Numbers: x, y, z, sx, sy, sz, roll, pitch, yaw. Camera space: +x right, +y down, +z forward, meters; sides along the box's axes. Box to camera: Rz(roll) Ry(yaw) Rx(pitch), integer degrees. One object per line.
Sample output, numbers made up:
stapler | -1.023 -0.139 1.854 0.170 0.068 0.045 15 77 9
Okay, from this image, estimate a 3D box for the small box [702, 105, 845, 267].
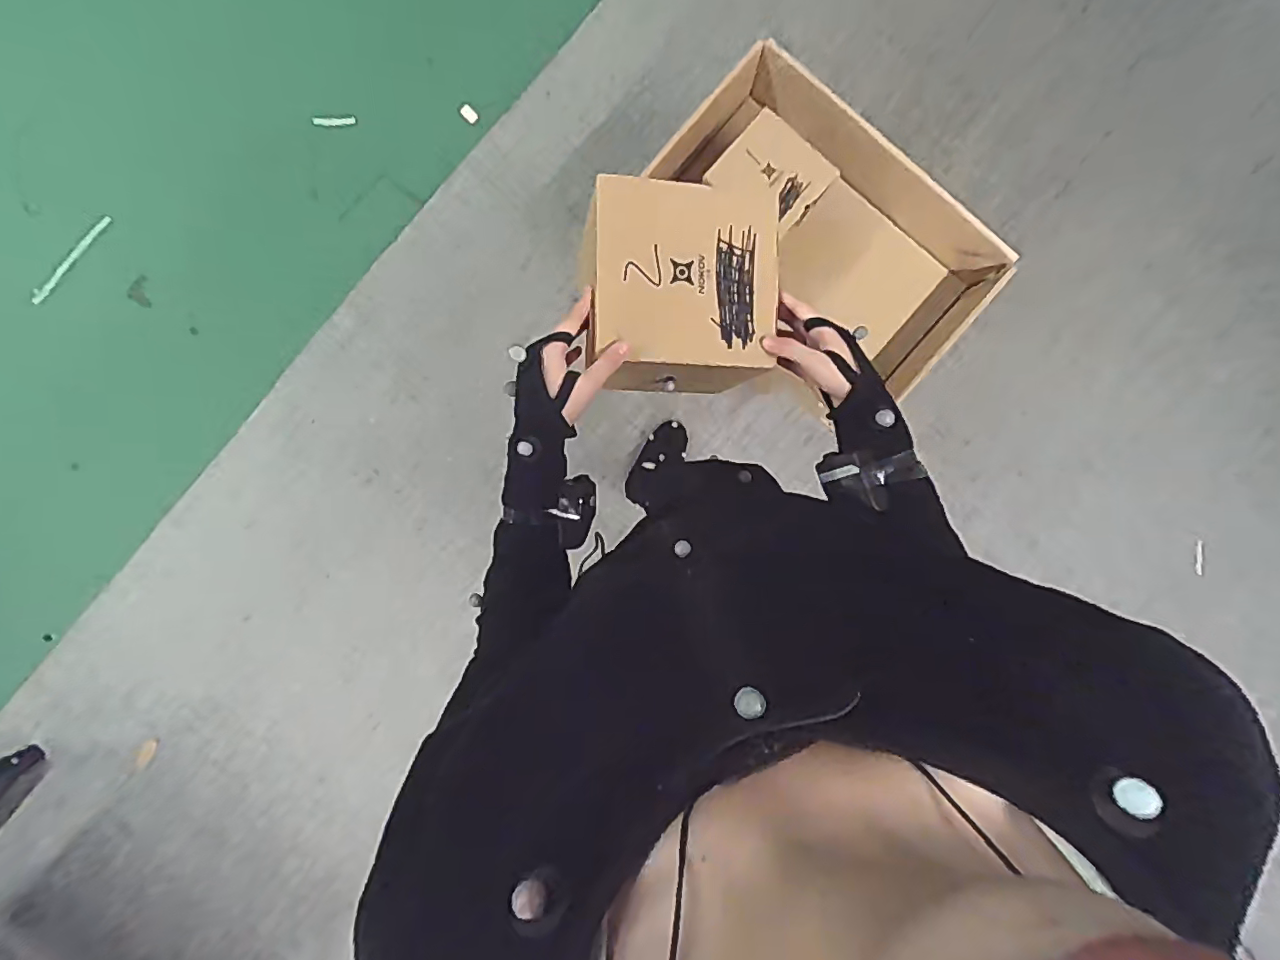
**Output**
small box | 0.234 -0.524 0.998 0.179 0.176 0.168 42 90 0
